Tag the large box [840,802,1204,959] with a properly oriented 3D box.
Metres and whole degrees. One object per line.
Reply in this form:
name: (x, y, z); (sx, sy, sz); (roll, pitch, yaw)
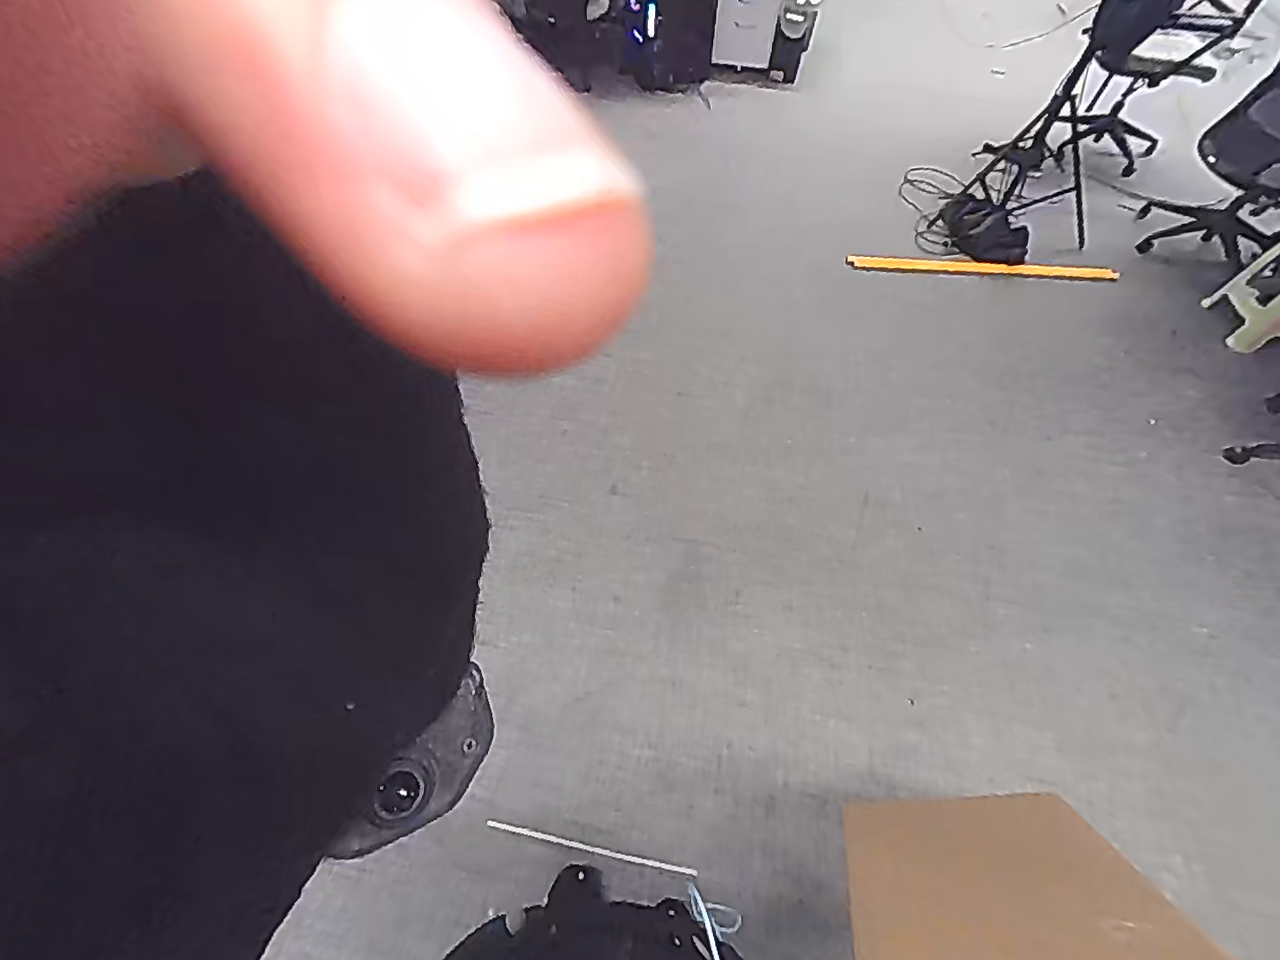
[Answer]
large box: (0.421, 0.614, 0.615); (0.320, 0.408, 0.320); (-13, 77, 17)
